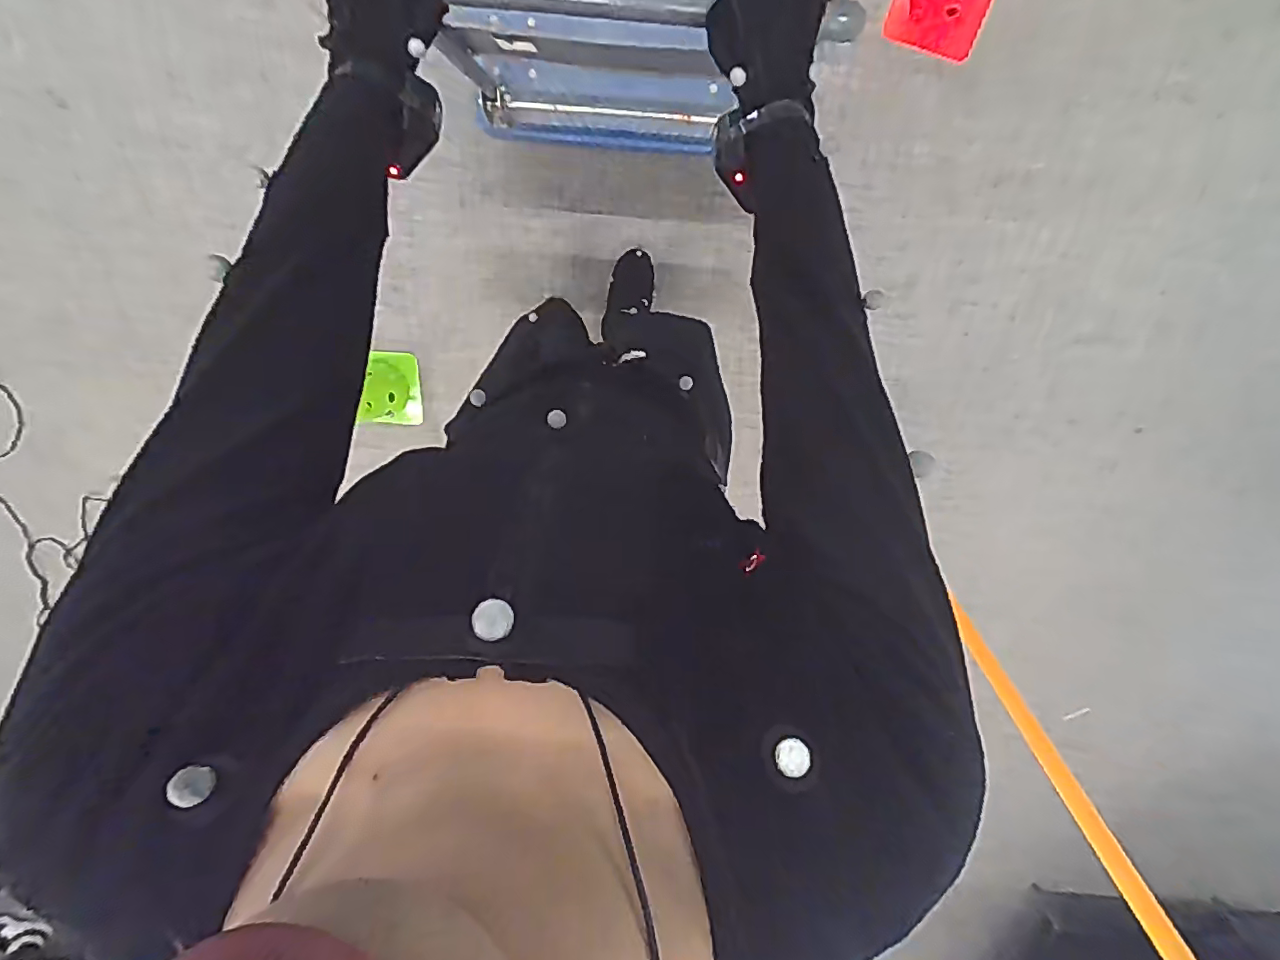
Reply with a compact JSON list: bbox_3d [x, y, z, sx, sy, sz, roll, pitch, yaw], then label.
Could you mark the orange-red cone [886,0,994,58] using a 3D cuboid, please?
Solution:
[{"bbox_3d":[0.626,-0.935,0.955,0.198,0.360,0.199,15,115,-5],"label":"orange-red cone"}]
